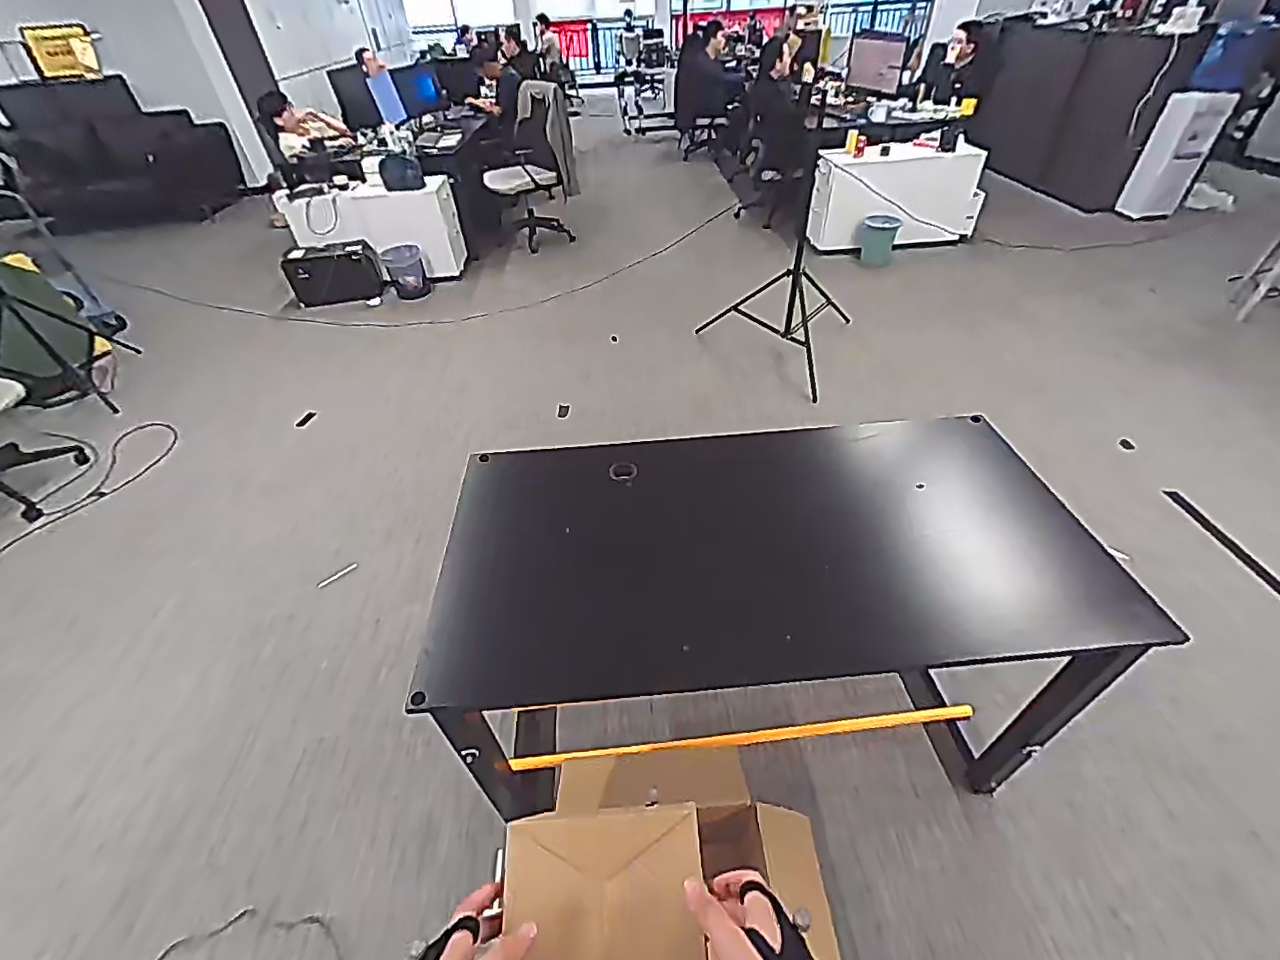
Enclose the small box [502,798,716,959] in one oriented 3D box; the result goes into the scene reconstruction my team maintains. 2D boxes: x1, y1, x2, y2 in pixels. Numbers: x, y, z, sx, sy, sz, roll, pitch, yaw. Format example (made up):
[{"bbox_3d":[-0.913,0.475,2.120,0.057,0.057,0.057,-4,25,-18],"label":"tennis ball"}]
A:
[{"bbox_3d":[-0.023,0.418,0.529,0.179,0.176,0.168,-7,61,3],"label":"small box"}]
